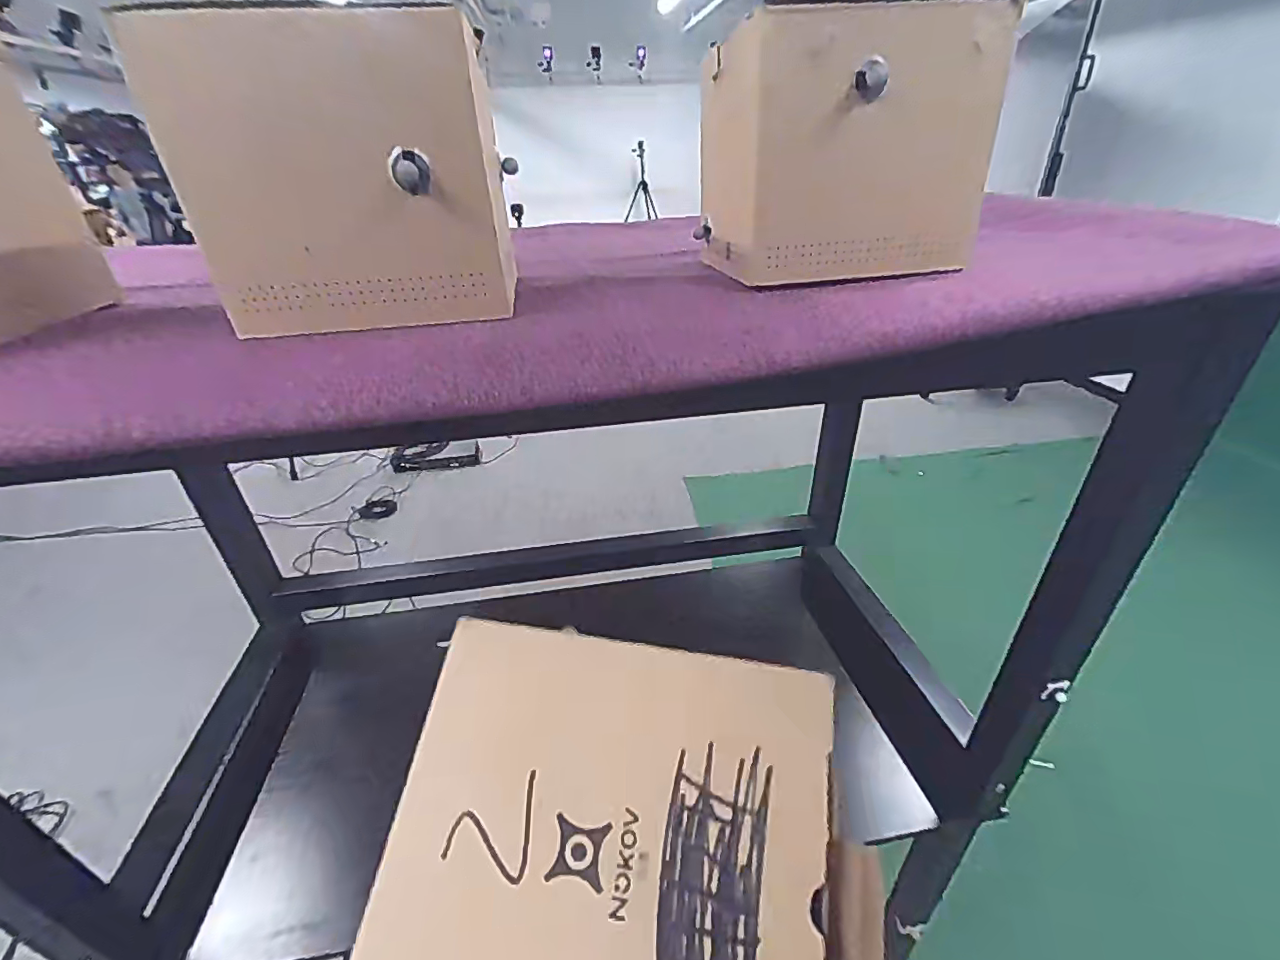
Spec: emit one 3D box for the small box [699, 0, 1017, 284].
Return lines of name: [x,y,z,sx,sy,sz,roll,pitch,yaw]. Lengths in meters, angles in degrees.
small box: [0.151,-0.262,0.442,0.179,0.176,0.168,-6,30,-6]

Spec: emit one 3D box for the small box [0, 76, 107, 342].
small box: [-0.504,-0.169,0.334,0.168,0.176,0.179,-6,32,-8]

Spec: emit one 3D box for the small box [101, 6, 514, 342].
small box: [-0.188,-0.207,0.382,0.179,0.176,0.168,-8,32,-7]
